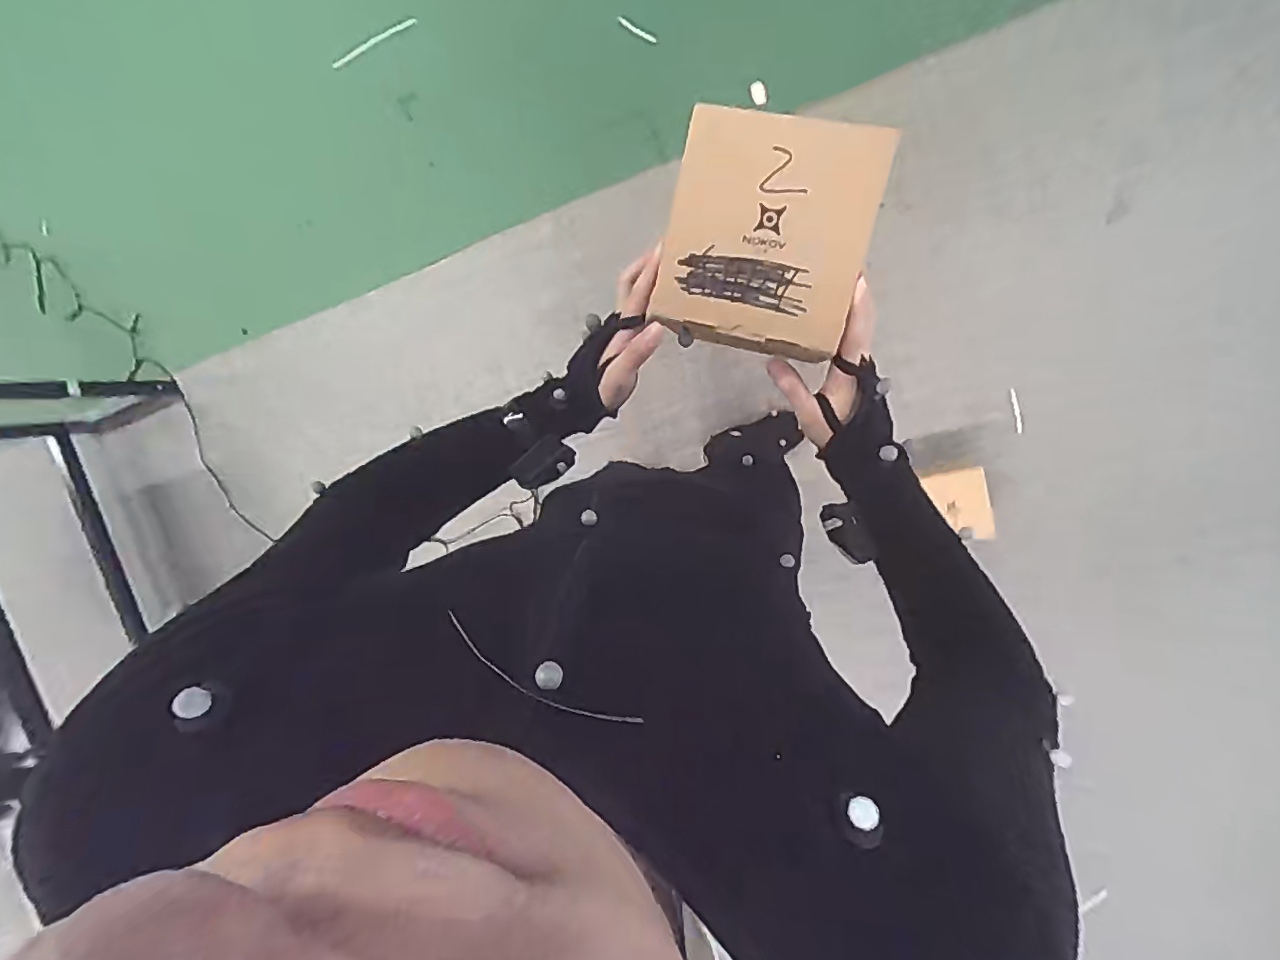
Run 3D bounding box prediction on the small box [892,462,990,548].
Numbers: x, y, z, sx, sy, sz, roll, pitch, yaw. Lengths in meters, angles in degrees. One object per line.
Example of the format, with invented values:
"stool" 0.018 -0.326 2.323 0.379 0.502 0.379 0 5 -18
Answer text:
"small box" 0.755 0.057 1.372 0.168 0.176 0.179 -12 97 17
